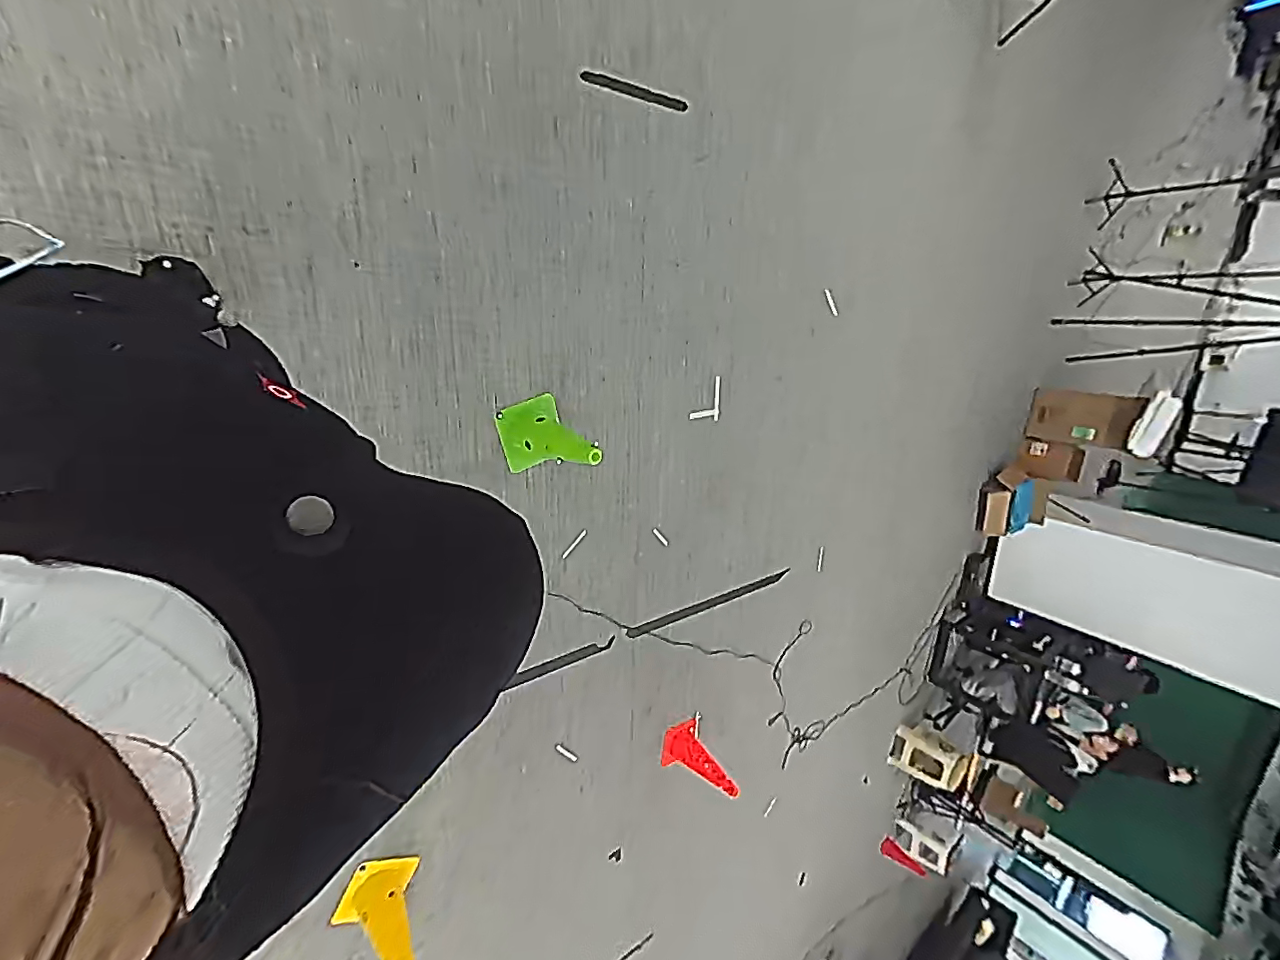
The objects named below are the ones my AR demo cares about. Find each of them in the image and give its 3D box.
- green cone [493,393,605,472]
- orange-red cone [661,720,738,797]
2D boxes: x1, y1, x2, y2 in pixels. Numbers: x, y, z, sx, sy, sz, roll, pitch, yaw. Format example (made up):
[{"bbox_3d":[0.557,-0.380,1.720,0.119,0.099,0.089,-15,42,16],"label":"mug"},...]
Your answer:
[{"bbox_3d":[-0.221,-0.101,1.499,0.202,0.368,0.200,-29,122,-31],"label":"green cone"},{"bbox_3d":[0.282,1.256,2.368,0.199,0.360,0.198,-2,105,-38],"label":"orange-red cone"}]
